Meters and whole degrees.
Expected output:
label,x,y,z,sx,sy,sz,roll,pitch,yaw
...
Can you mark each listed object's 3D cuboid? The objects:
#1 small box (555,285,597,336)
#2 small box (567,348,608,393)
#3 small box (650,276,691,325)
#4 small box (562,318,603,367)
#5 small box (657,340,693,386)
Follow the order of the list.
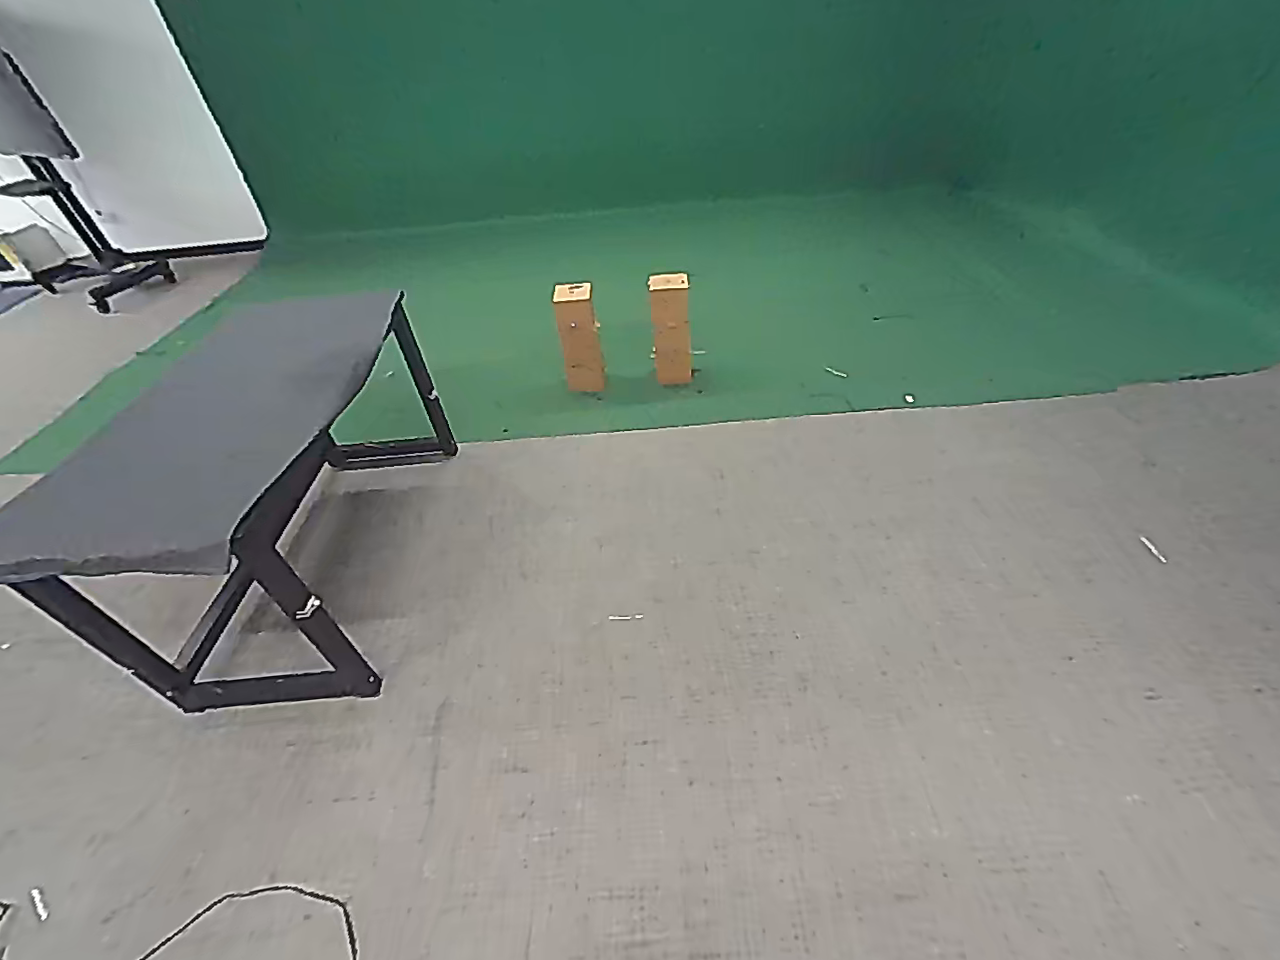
label,x,y,z,sx,sy,sz,roll,pitch,yaw
small box,-0.294,-0.788,2.516,0.168,0.176,0.179,-4,43,2
small box,-0.261,-0.552,2.740,0.179,0.176,0.168,-1,42,6
small box,0.143,-0.834,2.519,0.179,0.176,0.168,-3,42,4
small box,-0.275,-0.664,2.623,0.179,0.176,0.168,-6,42,0
small box,0.179,-0.592,2.738,0.179,0.176,0.168,-2,43,4
